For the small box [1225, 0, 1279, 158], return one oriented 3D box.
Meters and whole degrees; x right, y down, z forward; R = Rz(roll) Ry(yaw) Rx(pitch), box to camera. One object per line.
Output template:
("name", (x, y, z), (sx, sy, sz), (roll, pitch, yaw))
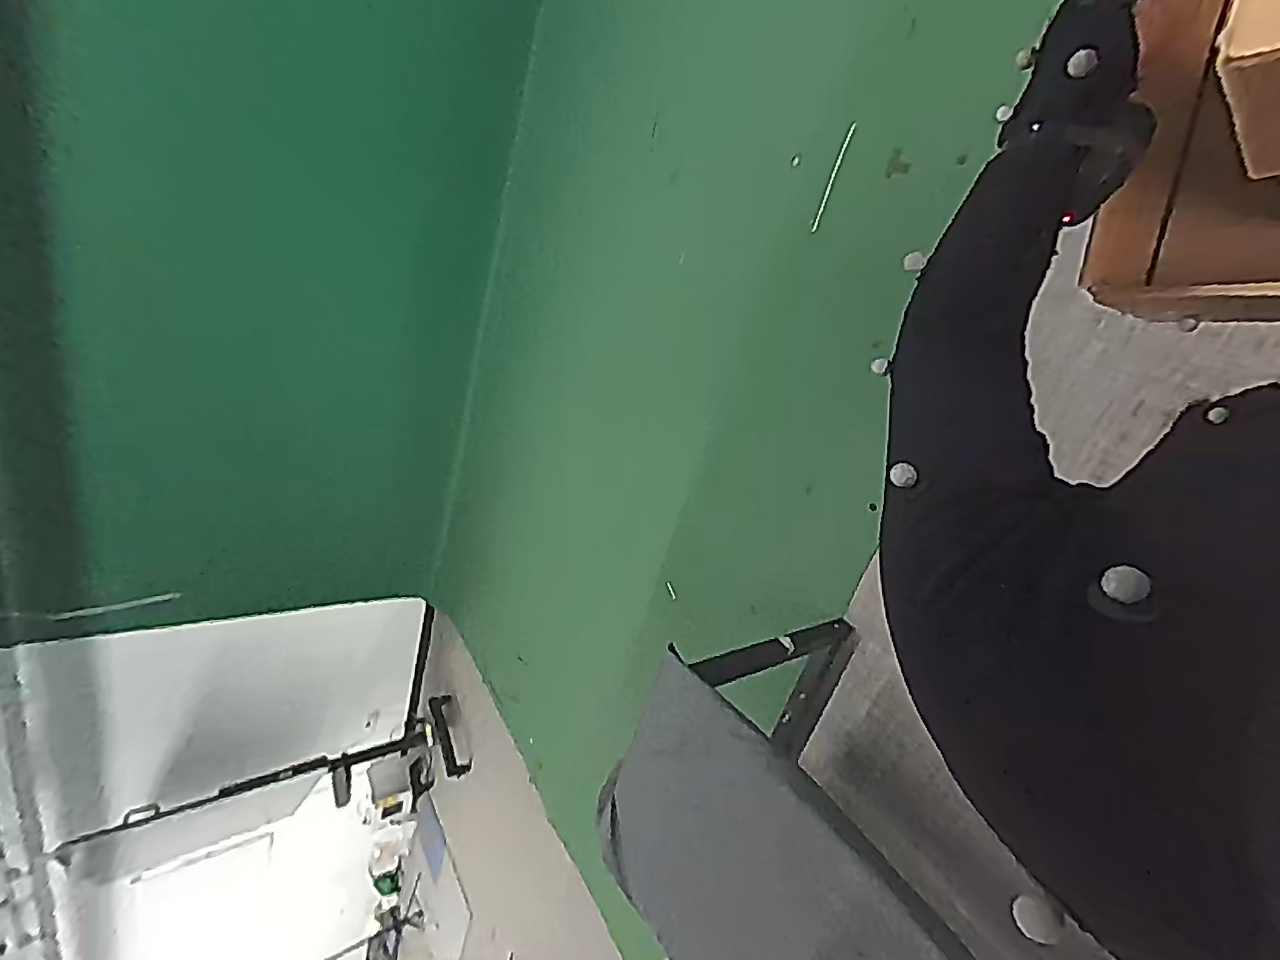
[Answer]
("small box", (0.380, -0.250, 0.206), (0.179, 0.176, 0.168), (18, 108, 49))
